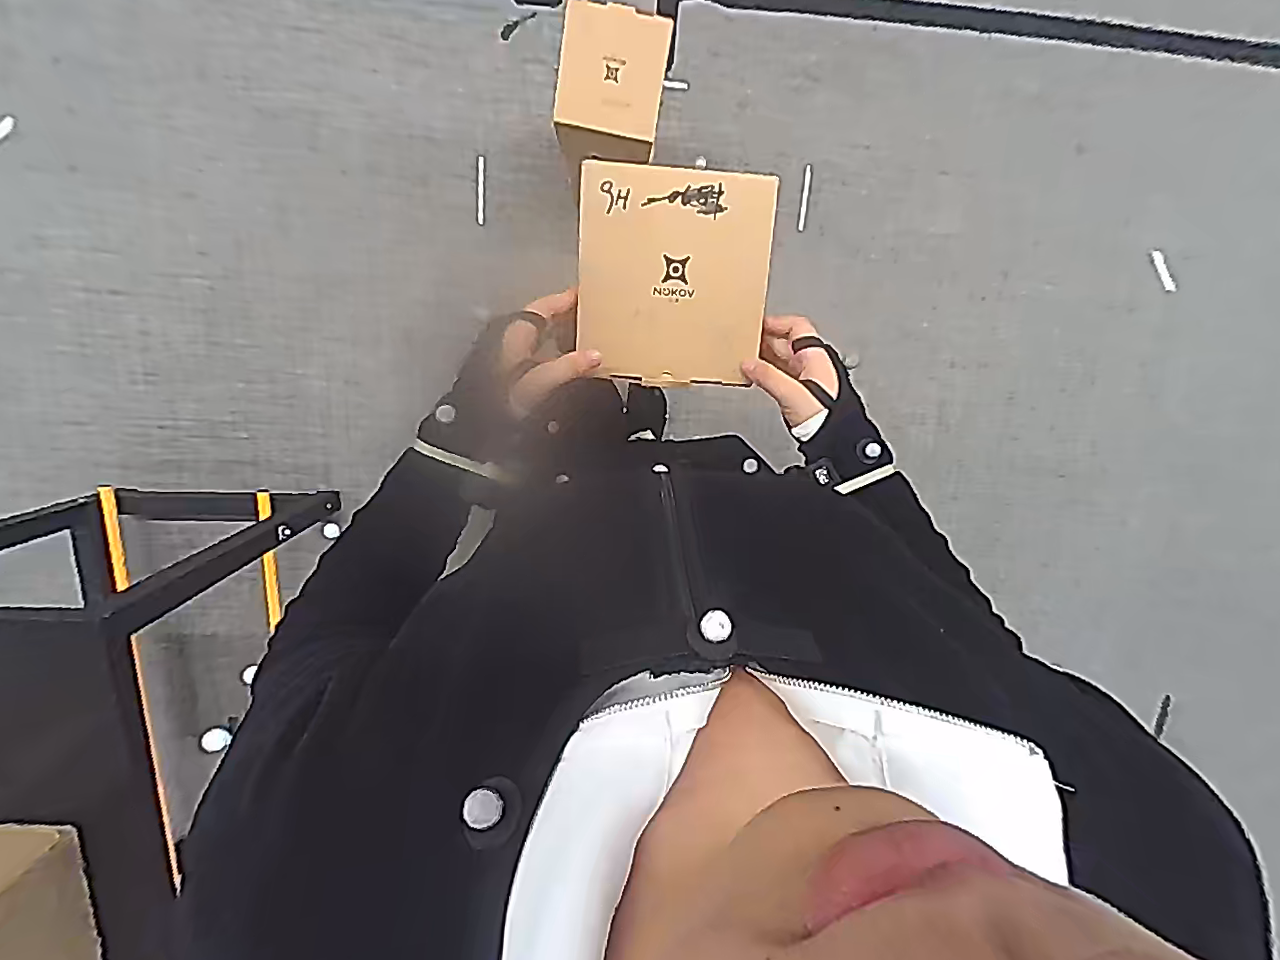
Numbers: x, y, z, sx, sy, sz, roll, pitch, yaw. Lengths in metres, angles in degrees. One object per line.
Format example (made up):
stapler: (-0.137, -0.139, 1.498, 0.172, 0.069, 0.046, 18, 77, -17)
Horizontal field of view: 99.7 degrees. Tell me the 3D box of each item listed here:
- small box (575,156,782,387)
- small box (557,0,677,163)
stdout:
small box: (0.026, -0.196, 0.538, 0.168, 0.176, 0.179, 3, 106, -5)
small box: (-0.042, -0.648, 0.914, 0.168, 0.176, 0.179, 9, 104, -5)
